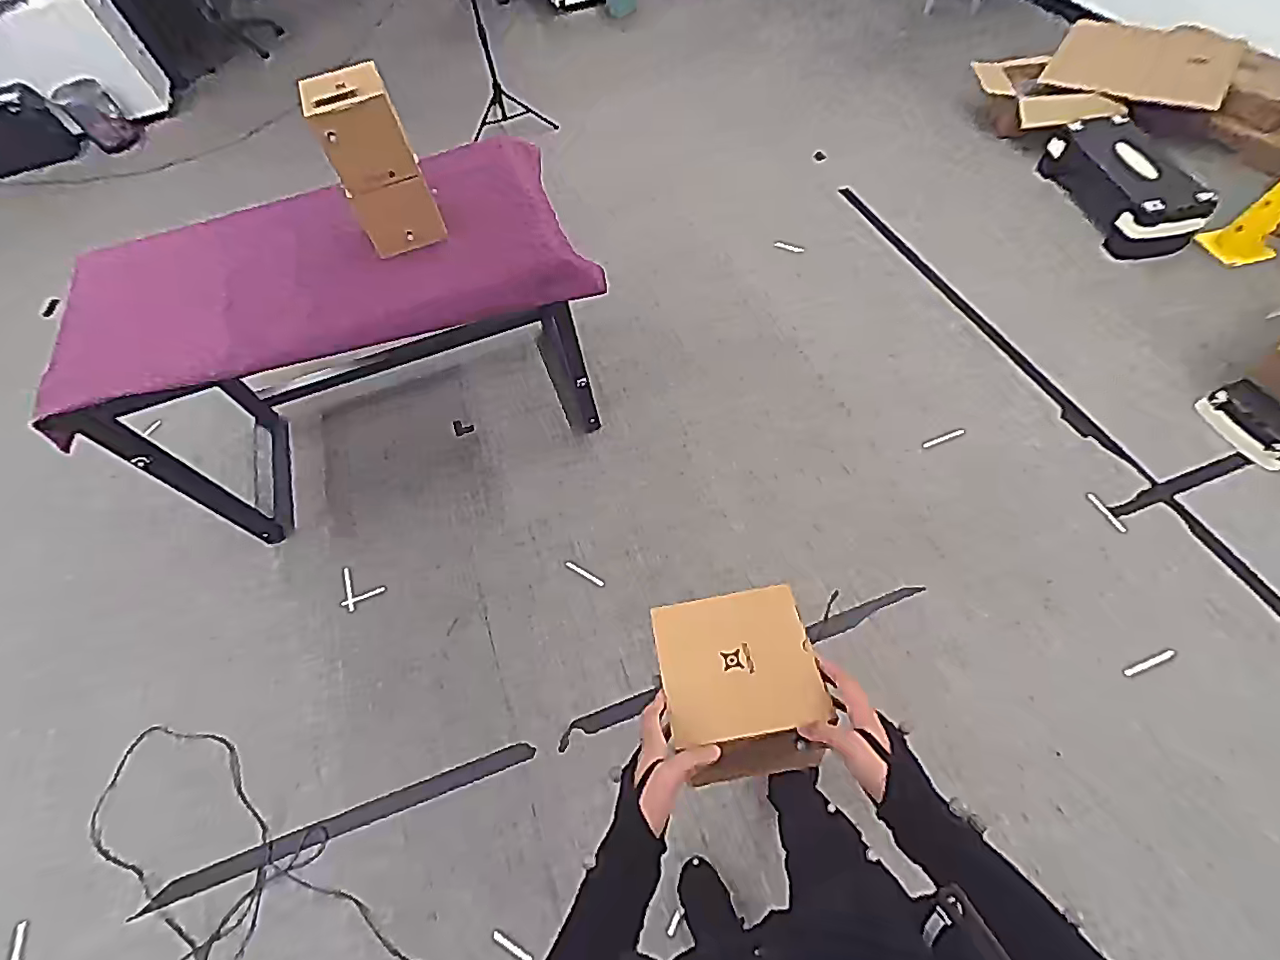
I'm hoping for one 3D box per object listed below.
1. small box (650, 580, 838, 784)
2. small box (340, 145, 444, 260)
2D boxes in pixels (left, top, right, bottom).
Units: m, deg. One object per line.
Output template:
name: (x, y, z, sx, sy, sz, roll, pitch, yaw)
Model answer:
small box: (0.117, 0.248, 0.657, 0.179, 0.176, 0.168, -11, 47, -1)
small box: (-0.601, -0.680, 1.333, 0.179, 0.176, 0.168, -23, 60, -8)
